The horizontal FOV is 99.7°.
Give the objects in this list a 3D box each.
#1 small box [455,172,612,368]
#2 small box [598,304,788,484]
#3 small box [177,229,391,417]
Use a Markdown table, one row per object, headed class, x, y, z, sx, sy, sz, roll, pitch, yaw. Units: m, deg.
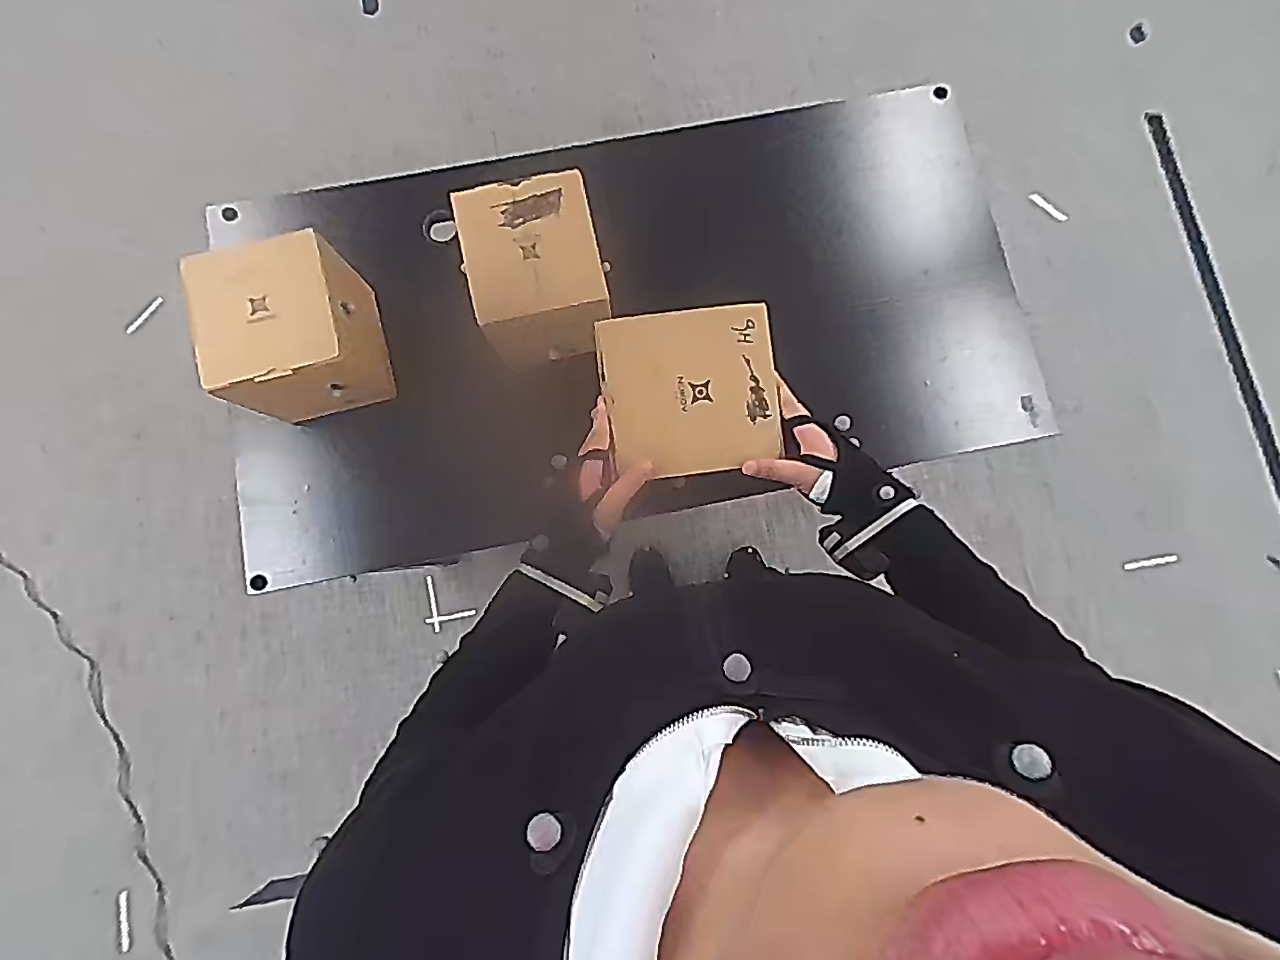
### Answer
| class | x | y | z | sx | sy | sz | roll | pitch | yaw |
| --- | --- | --- | --- | --- | --- | --- | --- | --- | --- |
| small box | -0.135 | -0.275 | 0.738 | 0.168 | 0.176 | 0.179 | -13 | 84 | -3 |
| small box | 0.050 | -0.085 | 0.614 | 0.179 | 0.176 | 0.168 | -7 | 90 | -3 |
| small box | -0.457 | -0.193 | 0.722 | 0.168 | 0.176 | 0.179 | -15 | 83 | -4 |
